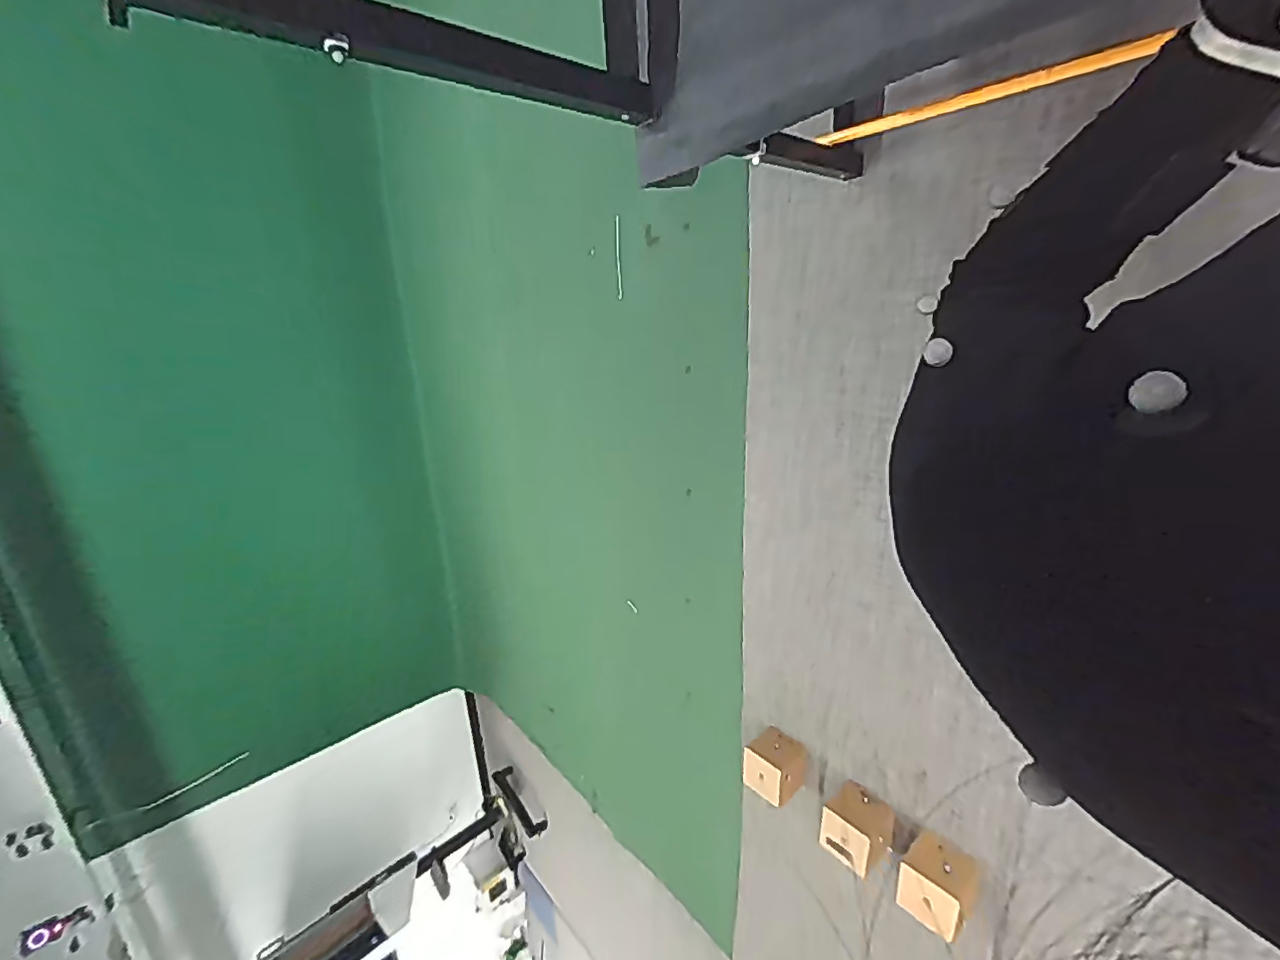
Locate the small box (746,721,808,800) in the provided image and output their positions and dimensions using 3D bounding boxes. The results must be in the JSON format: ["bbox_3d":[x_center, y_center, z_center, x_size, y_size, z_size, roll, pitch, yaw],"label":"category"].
[{"bbox_3d":[0.526,1.066,2.072,0.168,0.176,0.179,18,116,47],"label":"small box"}]

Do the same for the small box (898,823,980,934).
[{"bbox_3d":[0.914,1.205,1.651,0.168,0.176,0.179,16,116,46],"label":"small box"}]
